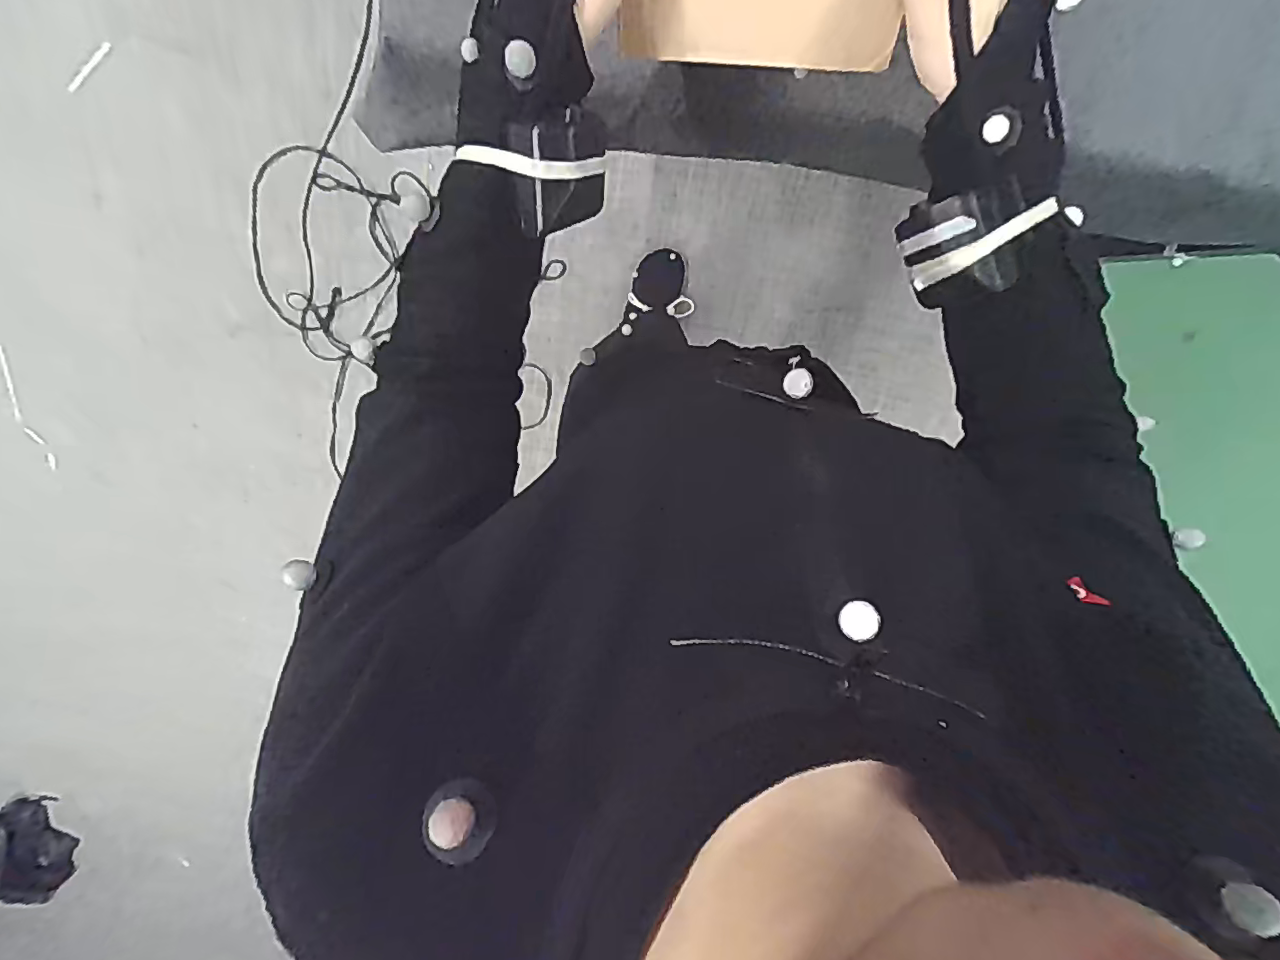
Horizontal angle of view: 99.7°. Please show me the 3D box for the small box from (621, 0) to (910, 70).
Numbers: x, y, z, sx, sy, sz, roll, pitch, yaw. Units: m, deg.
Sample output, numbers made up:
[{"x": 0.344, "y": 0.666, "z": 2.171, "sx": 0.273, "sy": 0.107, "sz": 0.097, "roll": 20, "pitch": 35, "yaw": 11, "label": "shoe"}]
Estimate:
[{"x": 0.084, "y": -0.381, "z": 0.348, "sx": 0.179, "sy": 0.176, "sz": 0.168, "roll": 6, "pitch": 133, "yaw": 4, "label": "small box"}]
